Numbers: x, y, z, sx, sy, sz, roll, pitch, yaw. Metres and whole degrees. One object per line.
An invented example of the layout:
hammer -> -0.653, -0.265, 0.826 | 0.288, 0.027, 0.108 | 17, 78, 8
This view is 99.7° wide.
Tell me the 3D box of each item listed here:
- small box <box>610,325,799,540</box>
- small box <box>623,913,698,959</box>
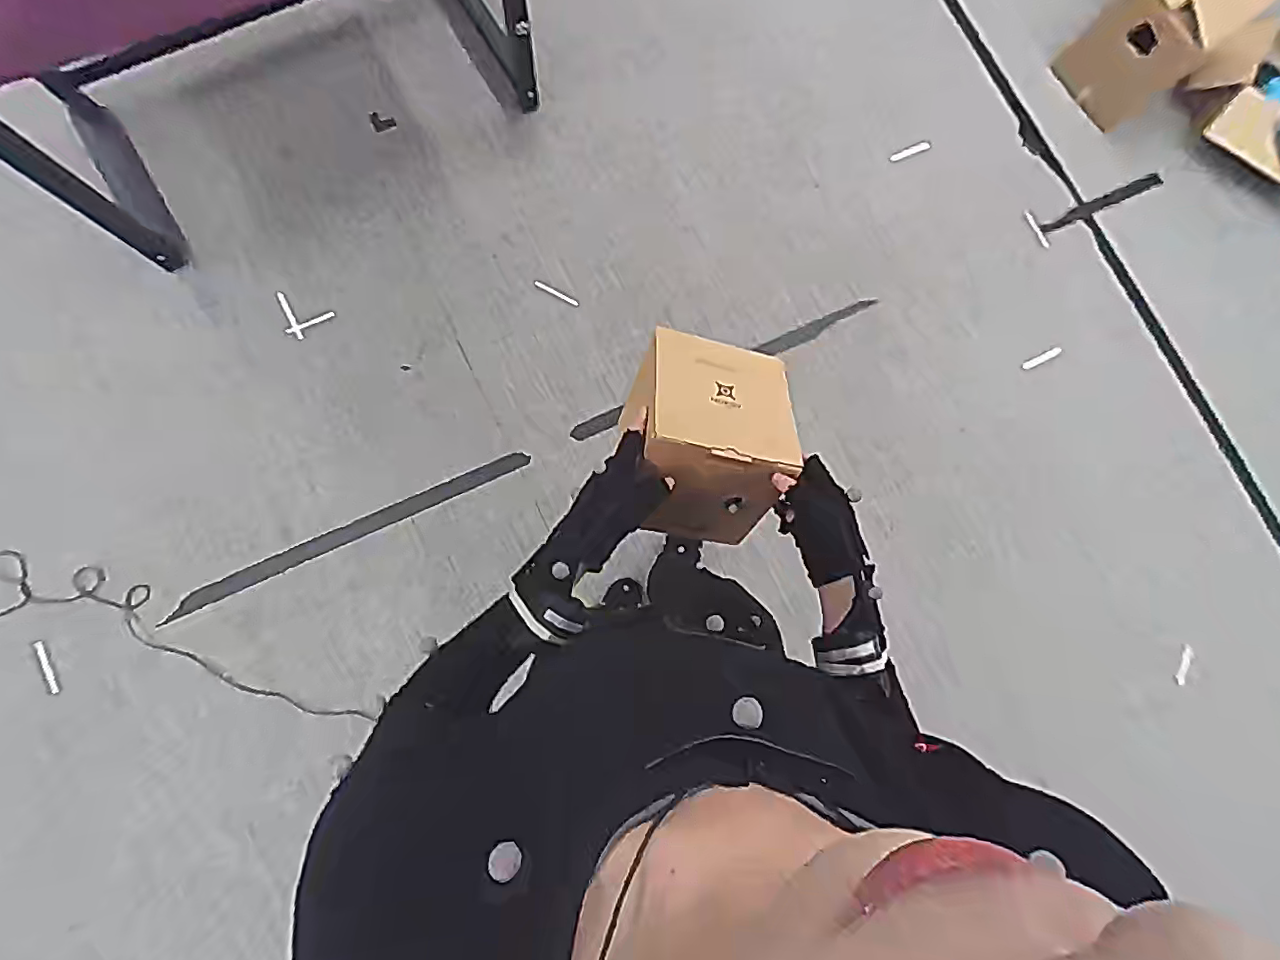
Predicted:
small box -> 0.064, -0.049, 0.647 | 0.168, 0.176, 0.179 | 12, 50, -14
small box -> 0.060, 1.207, 1.308 | 0.179, 0.176, 0.168 | -14, 83, -8
